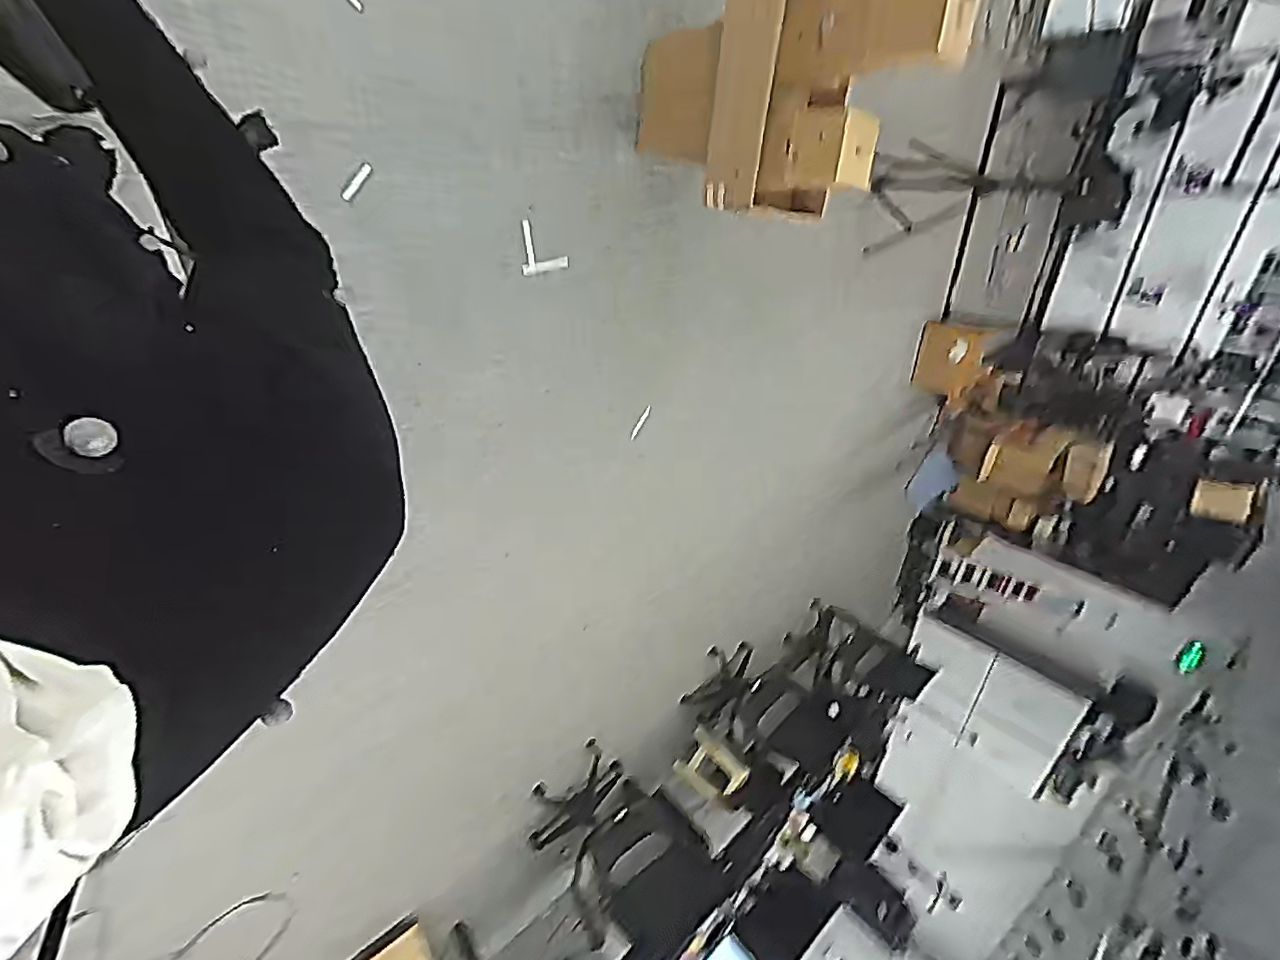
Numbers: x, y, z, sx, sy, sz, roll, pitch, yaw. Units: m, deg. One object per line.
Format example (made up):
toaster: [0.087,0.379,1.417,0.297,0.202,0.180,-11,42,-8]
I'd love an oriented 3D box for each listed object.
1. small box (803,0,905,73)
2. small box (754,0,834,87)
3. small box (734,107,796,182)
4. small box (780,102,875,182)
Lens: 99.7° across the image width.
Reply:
small box: [0.547,-1.163,1.385,0.179,0.176,0.168,-23,125,-37]
small box: [0.435,-1.214,1.495,0.168,0.176,0.179,-20,125,-38]
small box: [0.399,-0.979,1.590,0.179,0.176,0.168,-20,125,-39]
small box: [0.509,-0.919,1.486,0.179,0.176,0.168,-20,125,-39]
